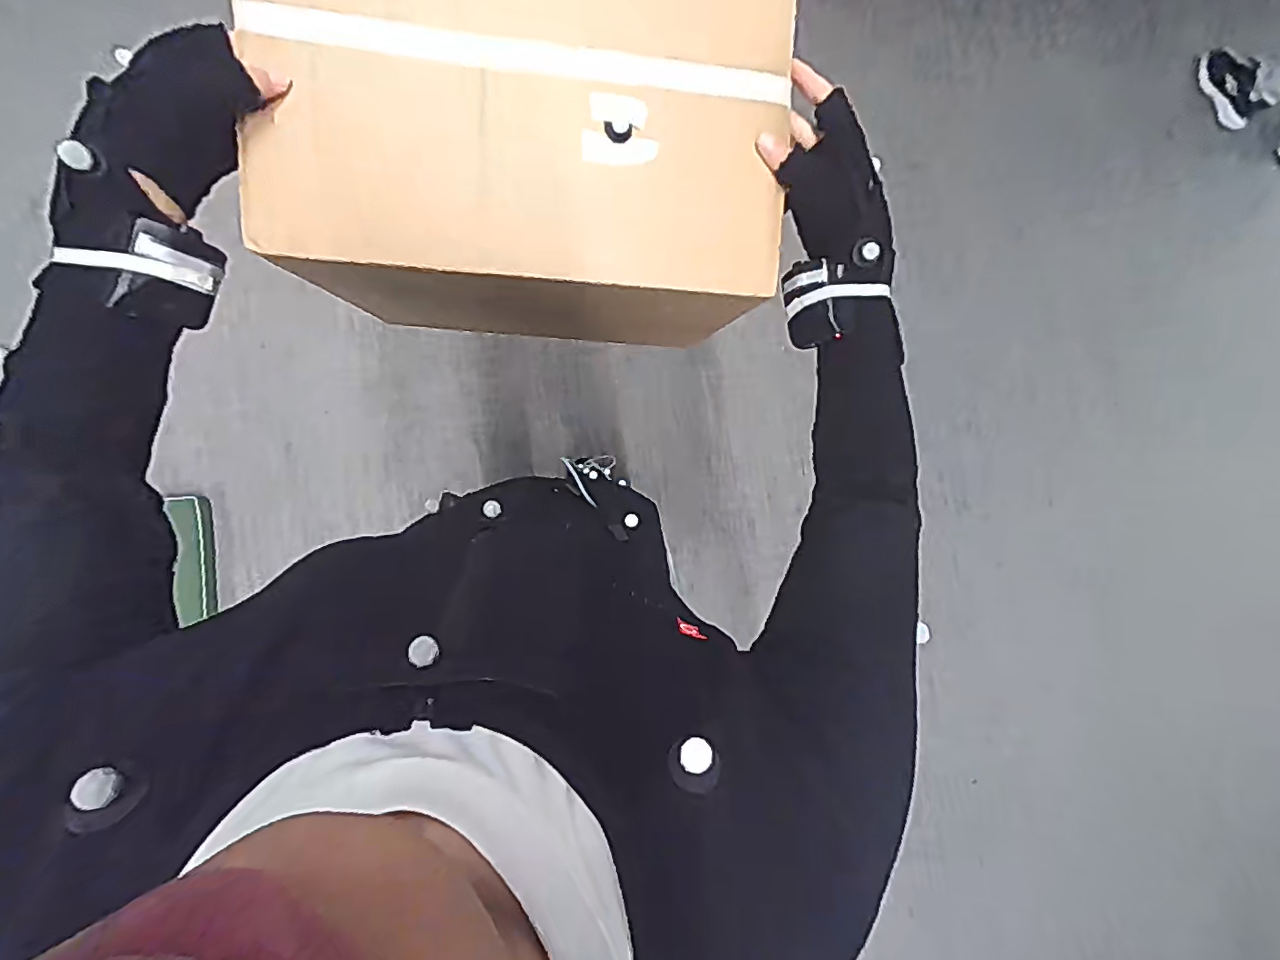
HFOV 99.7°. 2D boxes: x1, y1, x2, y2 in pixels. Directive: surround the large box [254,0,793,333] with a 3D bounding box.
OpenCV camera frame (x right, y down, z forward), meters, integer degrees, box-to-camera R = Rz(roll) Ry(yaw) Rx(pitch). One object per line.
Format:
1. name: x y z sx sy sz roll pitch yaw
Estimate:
1. large box: -0.100 -0.339 0.556 0.408 0.320 0.320 1 97 -9
